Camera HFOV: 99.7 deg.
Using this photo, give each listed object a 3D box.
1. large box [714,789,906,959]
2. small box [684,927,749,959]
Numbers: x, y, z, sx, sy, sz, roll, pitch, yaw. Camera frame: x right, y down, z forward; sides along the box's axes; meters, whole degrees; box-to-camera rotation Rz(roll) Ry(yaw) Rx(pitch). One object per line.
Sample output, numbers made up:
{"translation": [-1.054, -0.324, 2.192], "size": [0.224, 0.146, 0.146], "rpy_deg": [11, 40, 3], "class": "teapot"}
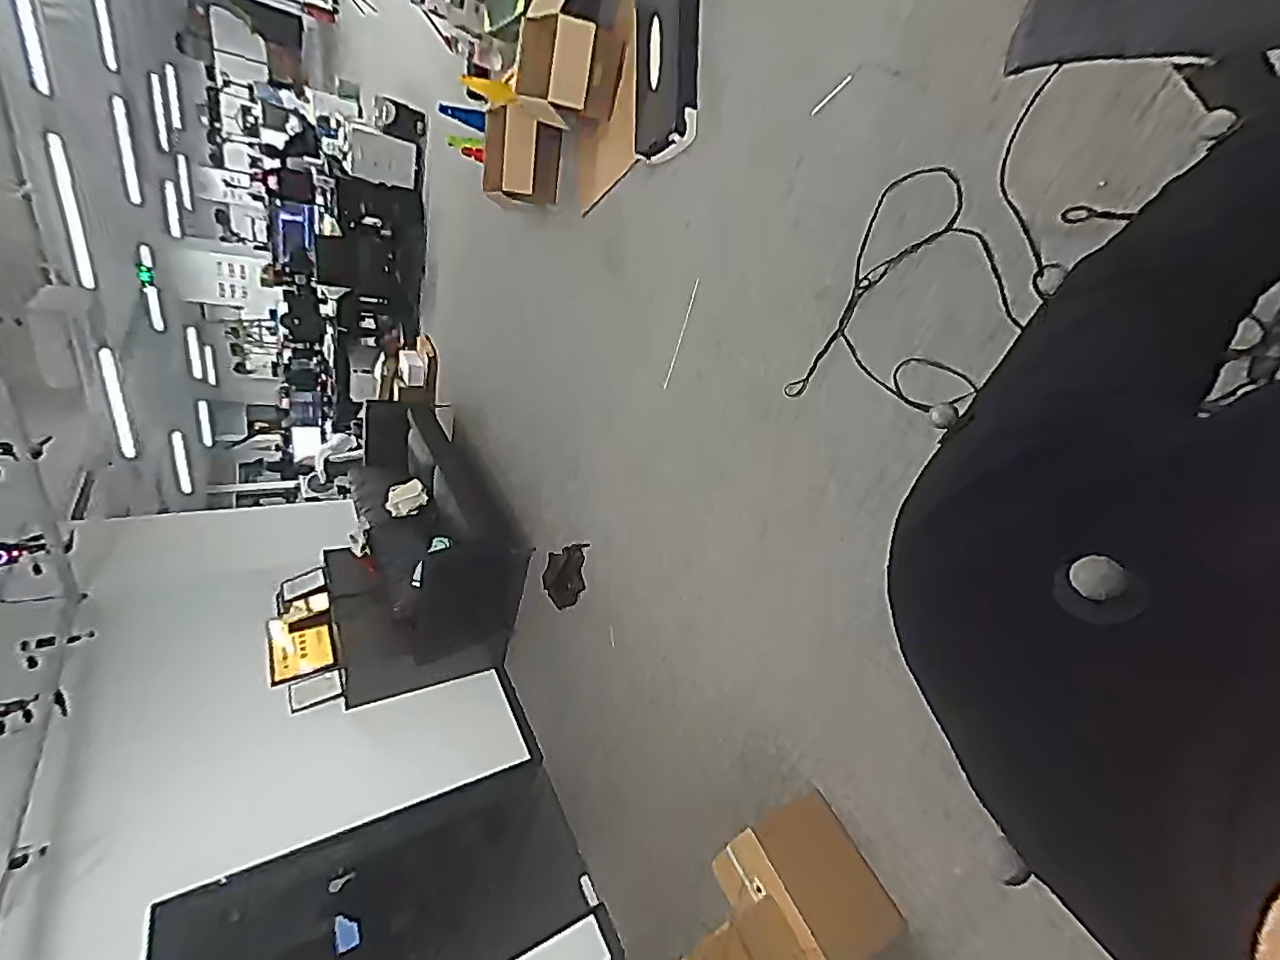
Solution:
{"translation": [0.502, 1.259, 1.654], "size": [0.408, 0.320, 0.320], "rpy_deg": [55, 135, 39], "class": "large box"}
{"translation": [0.196, 1.306, 1.384], "size": [0.179, 0.176, 0.168], "rpy_deg": [53, 135, 40], "class": "small box"}
